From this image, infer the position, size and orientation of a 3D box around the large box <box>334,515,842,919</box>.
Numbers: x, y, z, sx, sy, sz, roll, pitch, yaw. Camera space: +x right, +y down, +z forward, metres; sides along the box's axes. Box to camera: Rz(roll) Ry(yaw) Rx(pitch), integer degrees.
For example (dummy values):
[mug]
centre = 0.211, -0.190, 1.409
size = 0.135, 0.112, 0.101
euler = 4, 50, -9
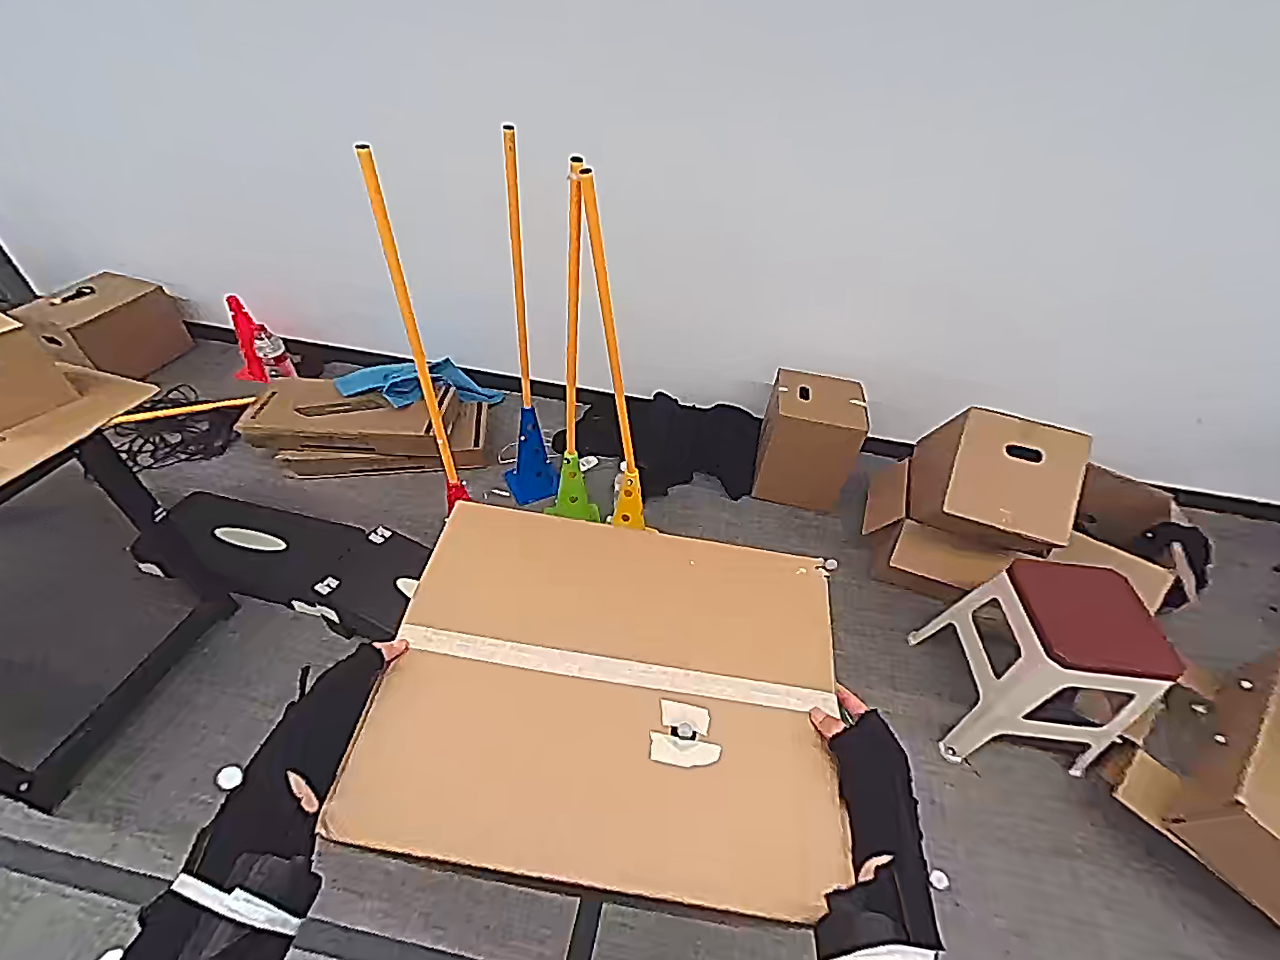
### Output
[large box]
centre = -0.037, 0.277, 0.619
size = 0.408, 0.320, 0.320
euler = 10, 52, 1
